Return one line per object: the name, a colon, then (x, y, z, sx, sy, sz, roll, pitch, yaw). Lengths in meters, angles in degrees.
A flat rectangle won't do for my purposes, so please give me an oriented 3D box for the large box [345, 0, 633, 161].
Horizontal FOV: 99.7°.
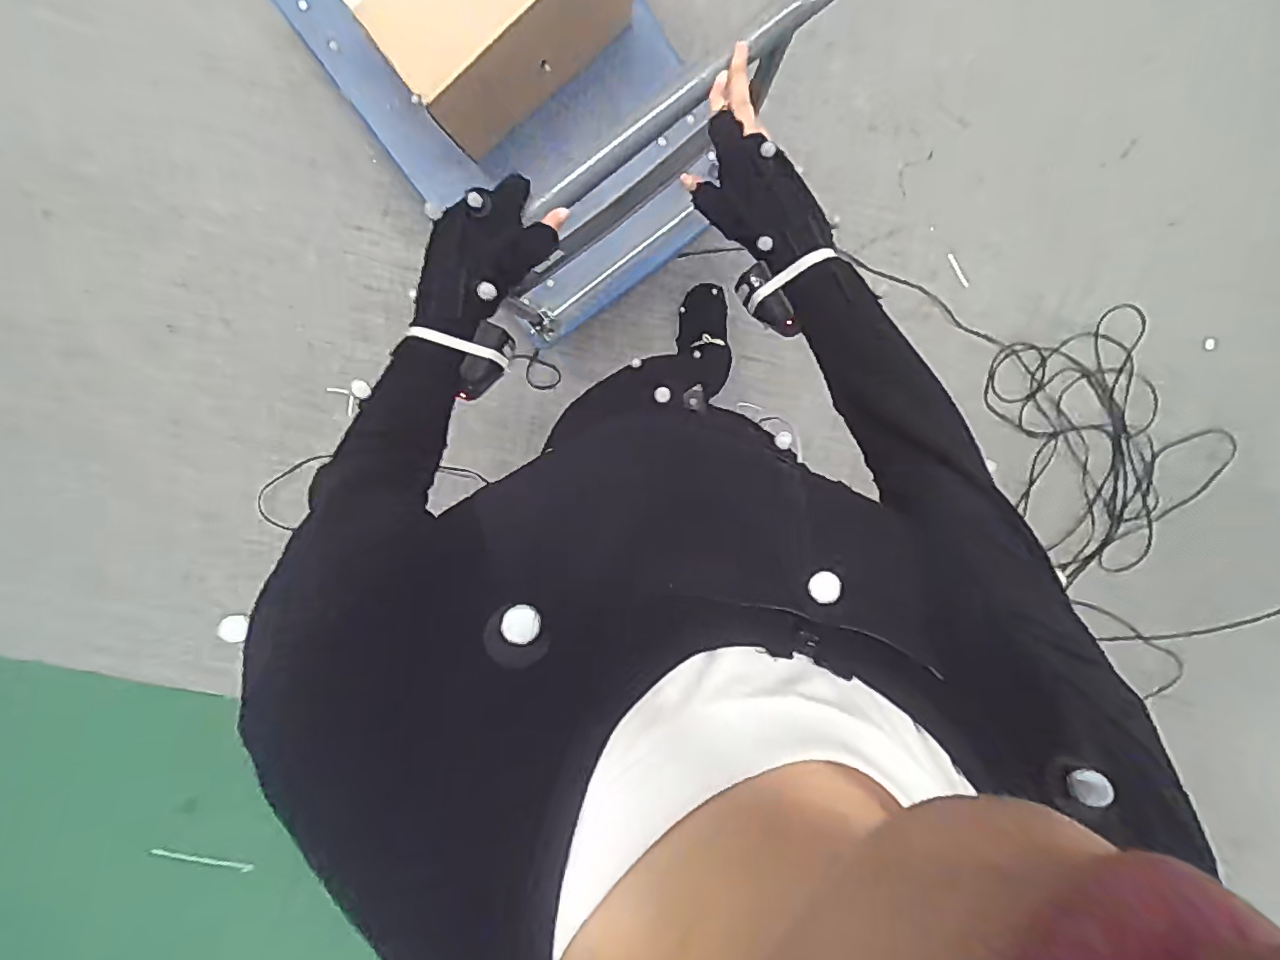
large box: (-0.253, -0.835, 0.896, 0.408, 0.320, 0.320, -38, 103, 10)
